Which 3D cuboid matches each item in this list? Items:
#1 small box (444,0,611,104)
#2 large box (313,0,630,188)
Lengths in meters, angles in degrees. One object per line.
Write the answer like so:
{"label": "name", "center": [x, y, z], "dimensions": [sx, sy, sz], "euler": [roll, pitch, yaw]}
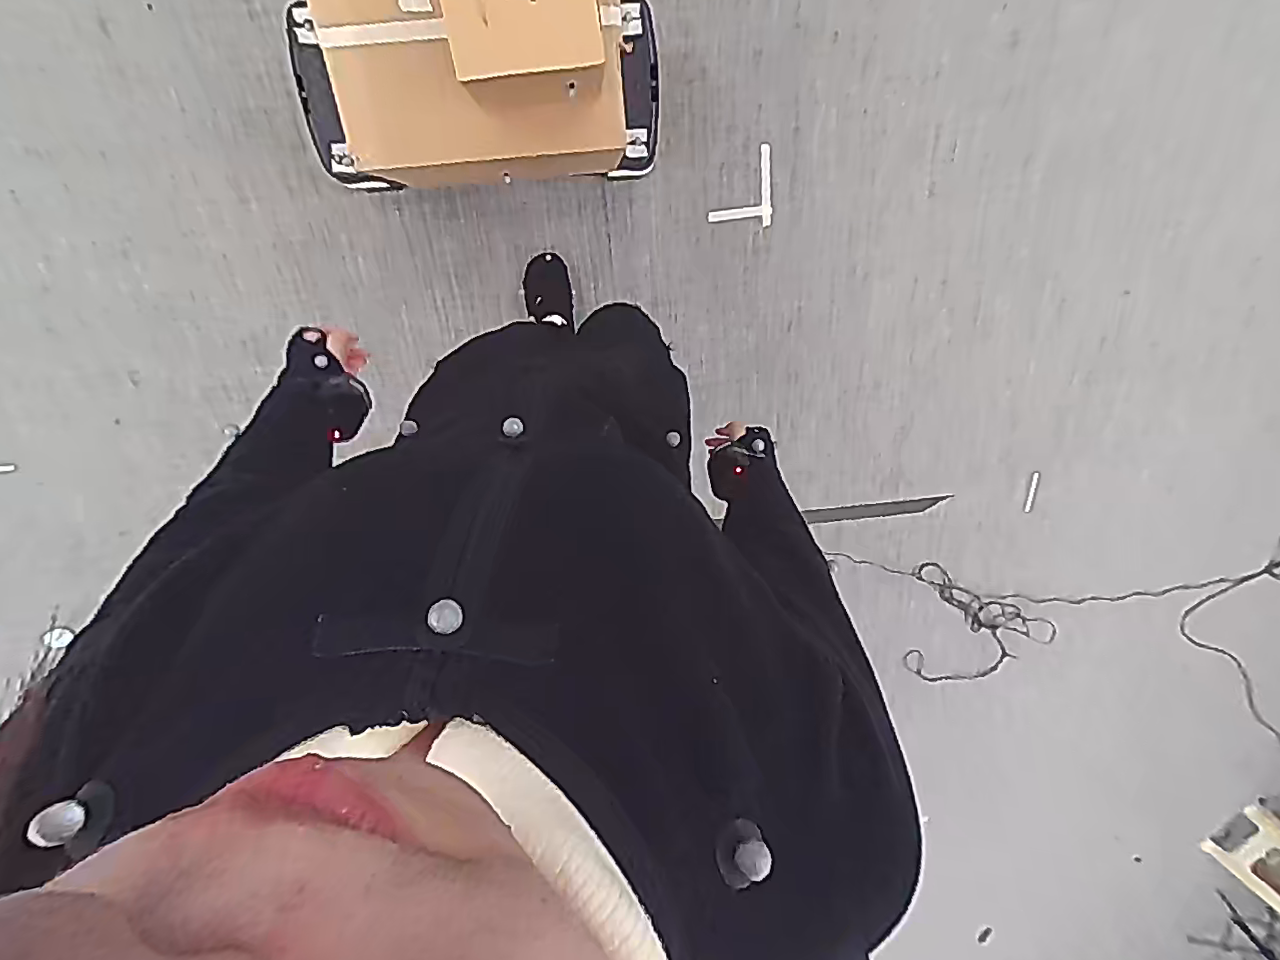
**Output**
{"label": "small box", "center": [-0.135, -0.574, 0.652], "dimensions": [0.179, 0.176, 0.168], "euler": [-8, 115, -2]}
{"label": "large box", "center": [-0.238, -0.671, 0.867], "dimensions": [0.408, 0.320, 0.320], "euler": [-7, 114, -2]}
